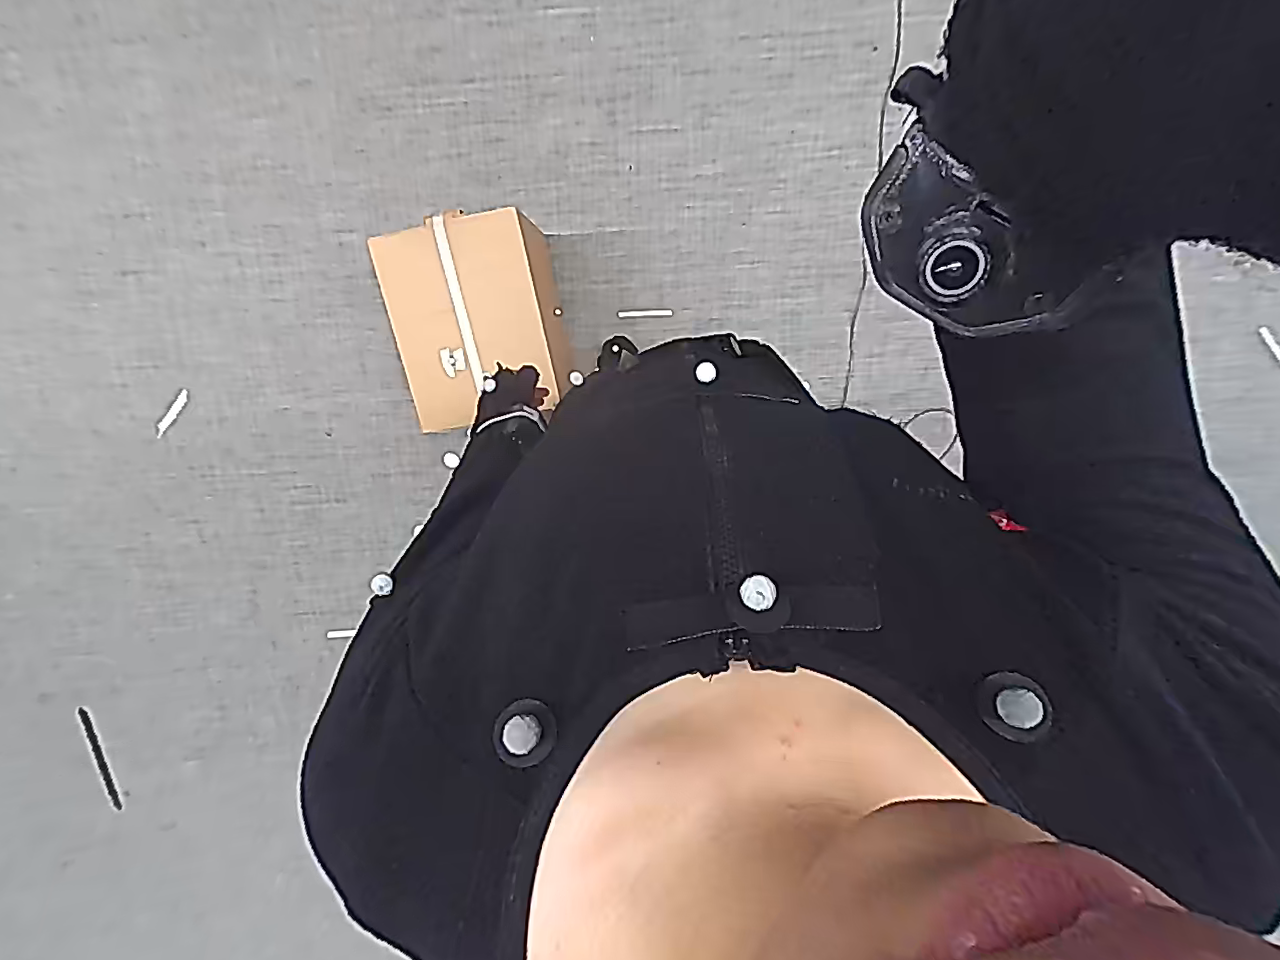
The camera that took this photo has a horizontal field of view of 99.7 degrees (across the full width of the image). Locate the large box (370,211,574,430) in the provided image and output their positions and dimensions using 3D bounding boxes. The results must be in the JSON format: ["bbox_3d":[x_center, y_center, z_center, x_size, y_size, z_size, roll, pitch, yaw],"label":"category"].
[{"bbox_3d":[-0.364,-0.365,1.285,0.320,0.320,0.408,-10,105,5],"label":"large box"}]
